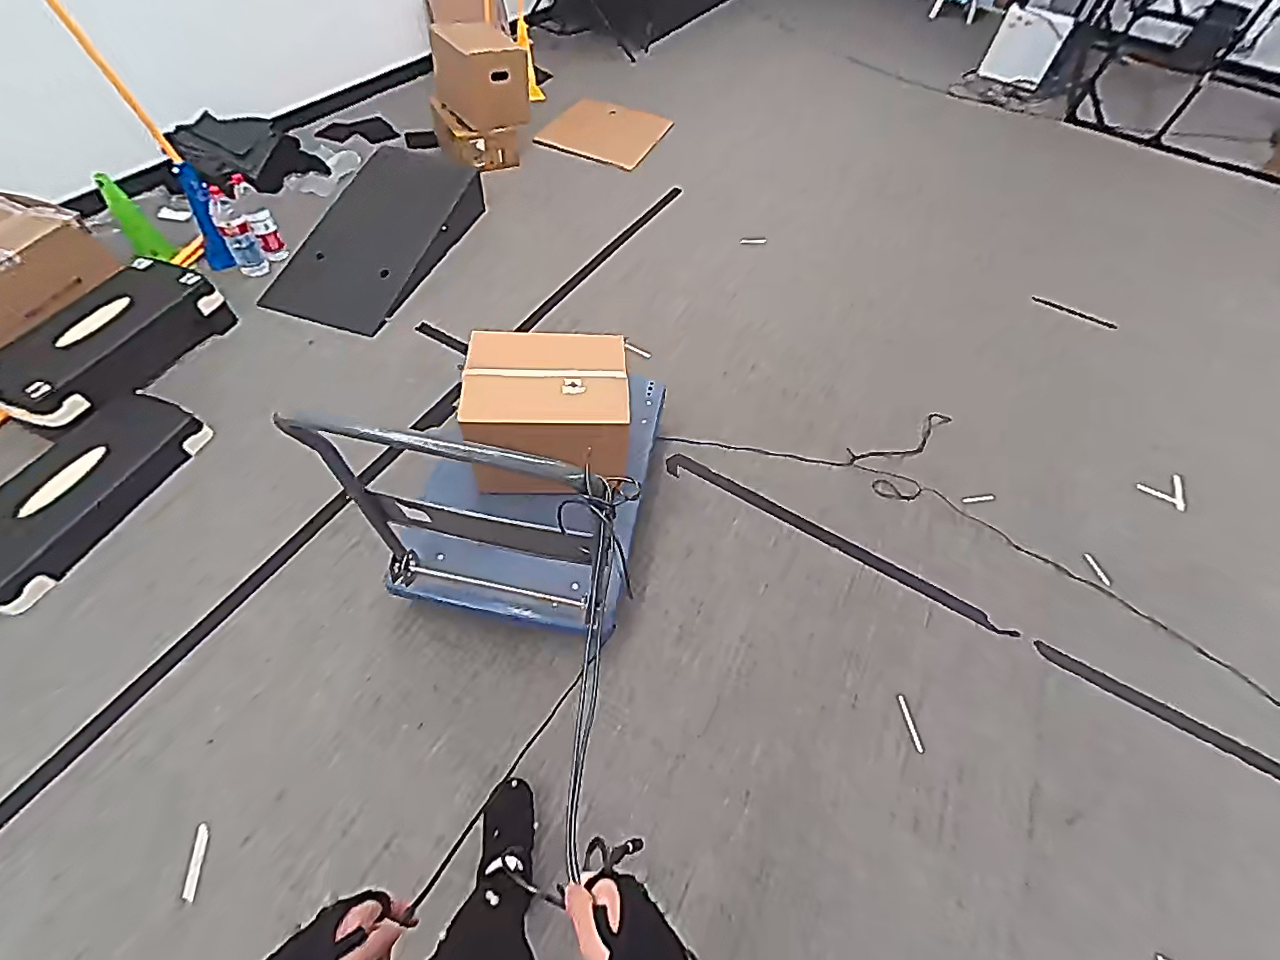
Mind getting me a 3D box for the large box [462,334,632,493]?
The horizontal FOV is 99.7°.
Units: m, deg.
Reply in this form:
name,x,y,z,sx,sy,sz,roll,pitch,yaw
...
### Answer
name,x,y,z,sx,sy,sz,roll,pitch,yaw
large box,-0.243,-0.172,1.470,0.408,0.320,0.320,0,56,-7
